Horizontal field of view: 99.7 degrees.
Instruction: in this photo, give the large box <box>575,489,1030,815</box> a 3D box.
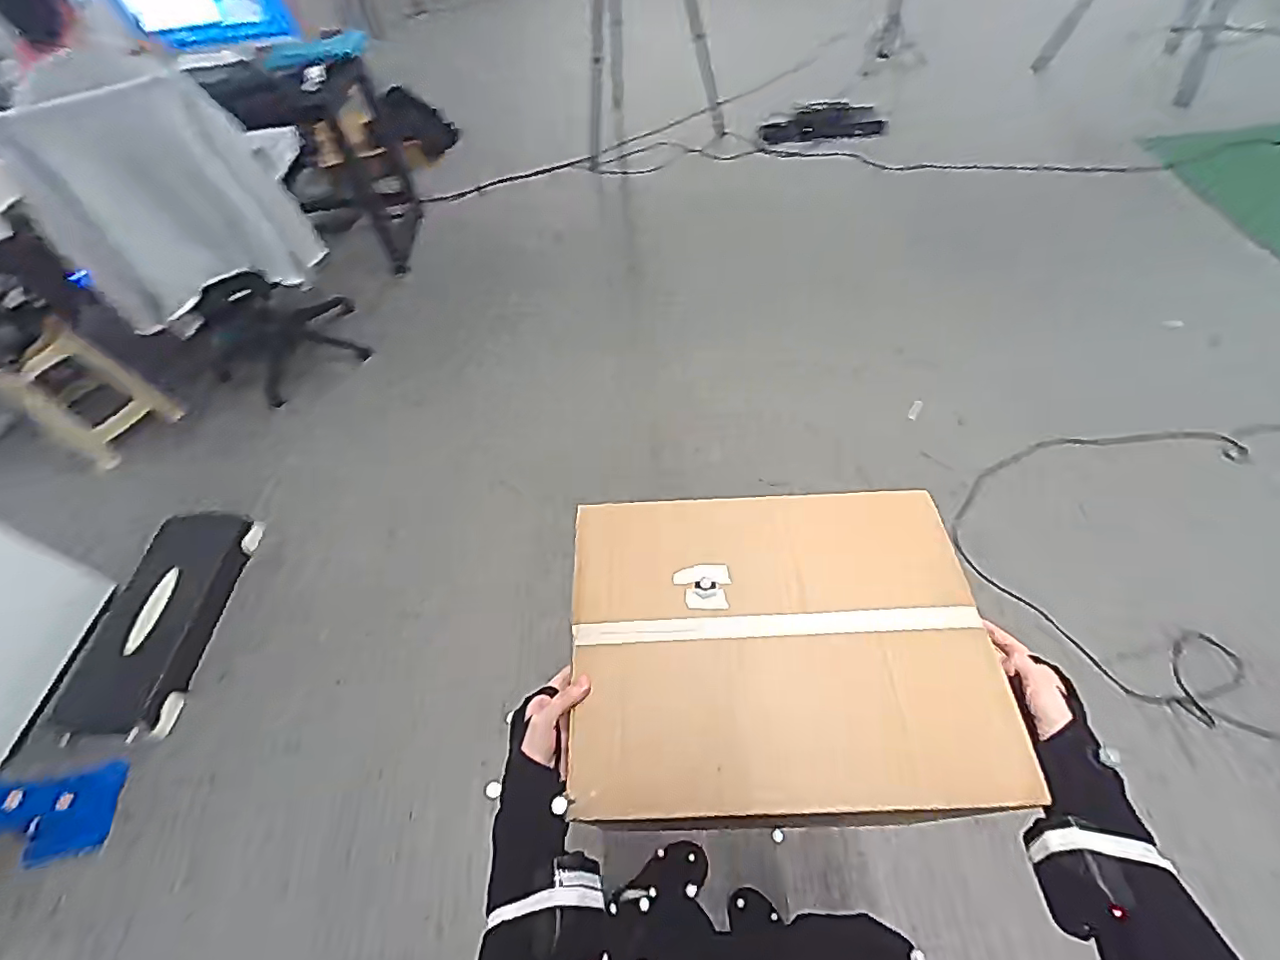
[{"bbox_3d":[0.147,0.230,0.676,0.408,0.320,0.320,-3,55,3],"label":"large box"}]
